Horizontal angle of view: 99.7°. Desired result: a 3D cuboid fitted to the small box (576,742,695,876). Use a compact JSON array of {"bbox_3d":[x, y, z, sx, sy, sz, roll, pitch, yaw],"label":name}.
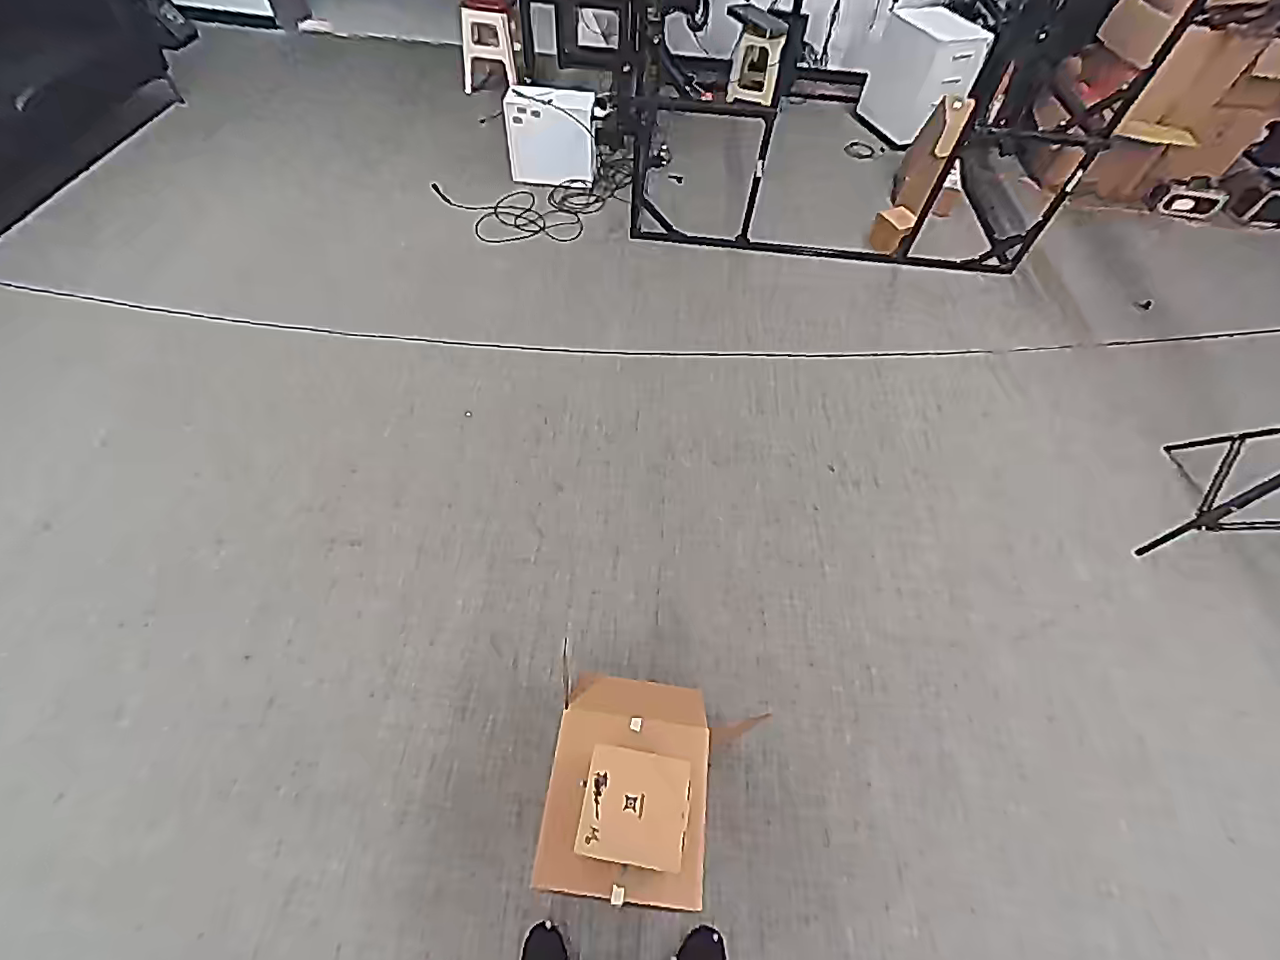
[{"bbox_3d":[-0.009,0.581,0.960,0.179,0.176,0.168,11,56,2],"label":"small box"}]
